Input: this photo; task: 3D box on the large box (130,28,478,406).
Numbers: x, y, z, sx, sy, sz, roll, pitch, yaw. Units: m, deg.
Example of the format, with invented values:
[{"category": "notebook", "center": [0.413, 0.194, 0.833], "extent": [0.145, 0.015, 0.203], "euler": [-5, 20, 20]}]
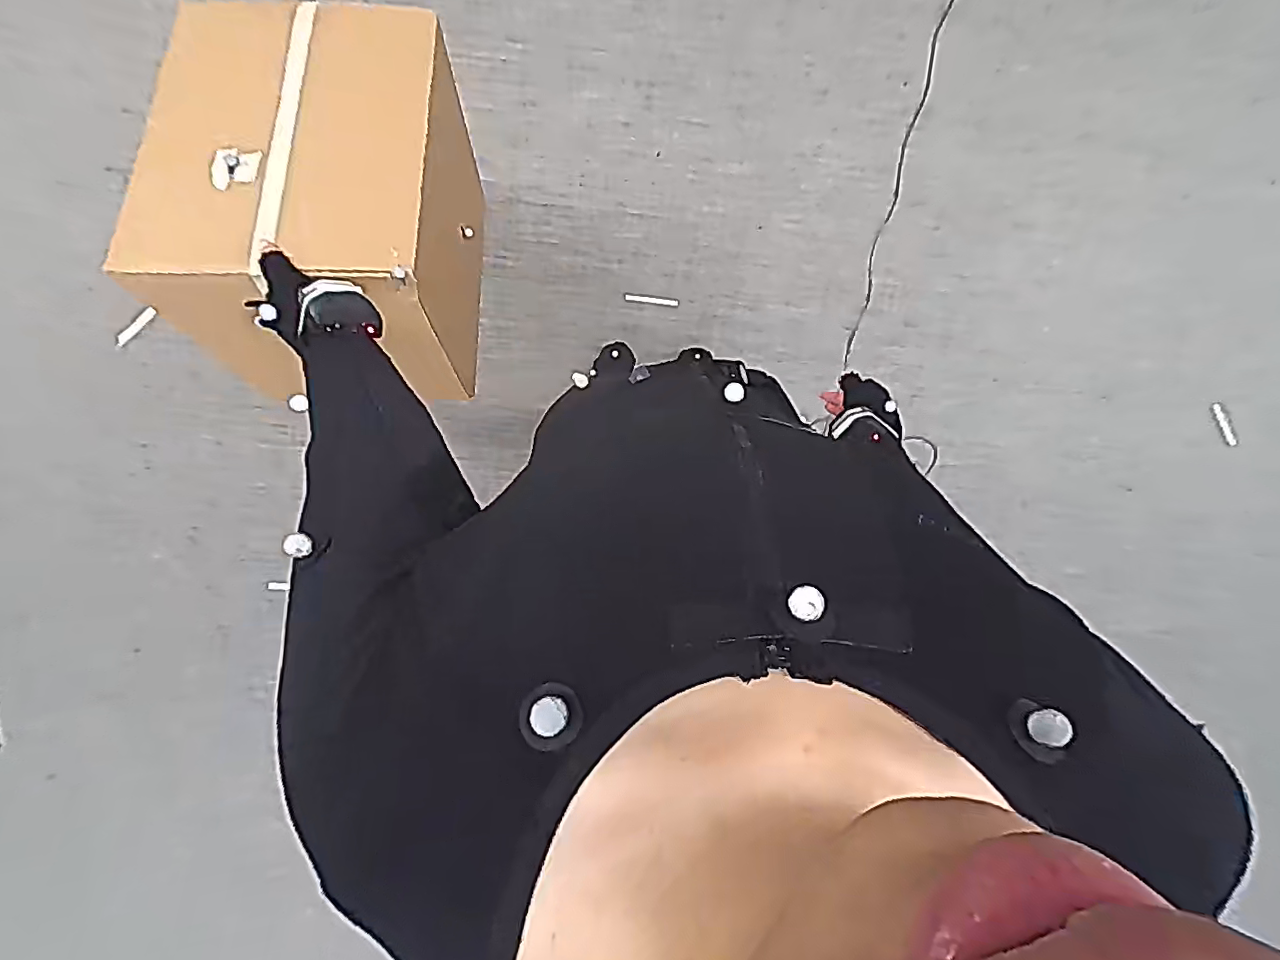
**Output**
[{"category": "large box", "center": [-0.425, -0.355, 0.794], "extent": [0.320, 0.320, 0.408], "euler": [-2, 73, -4]}]
